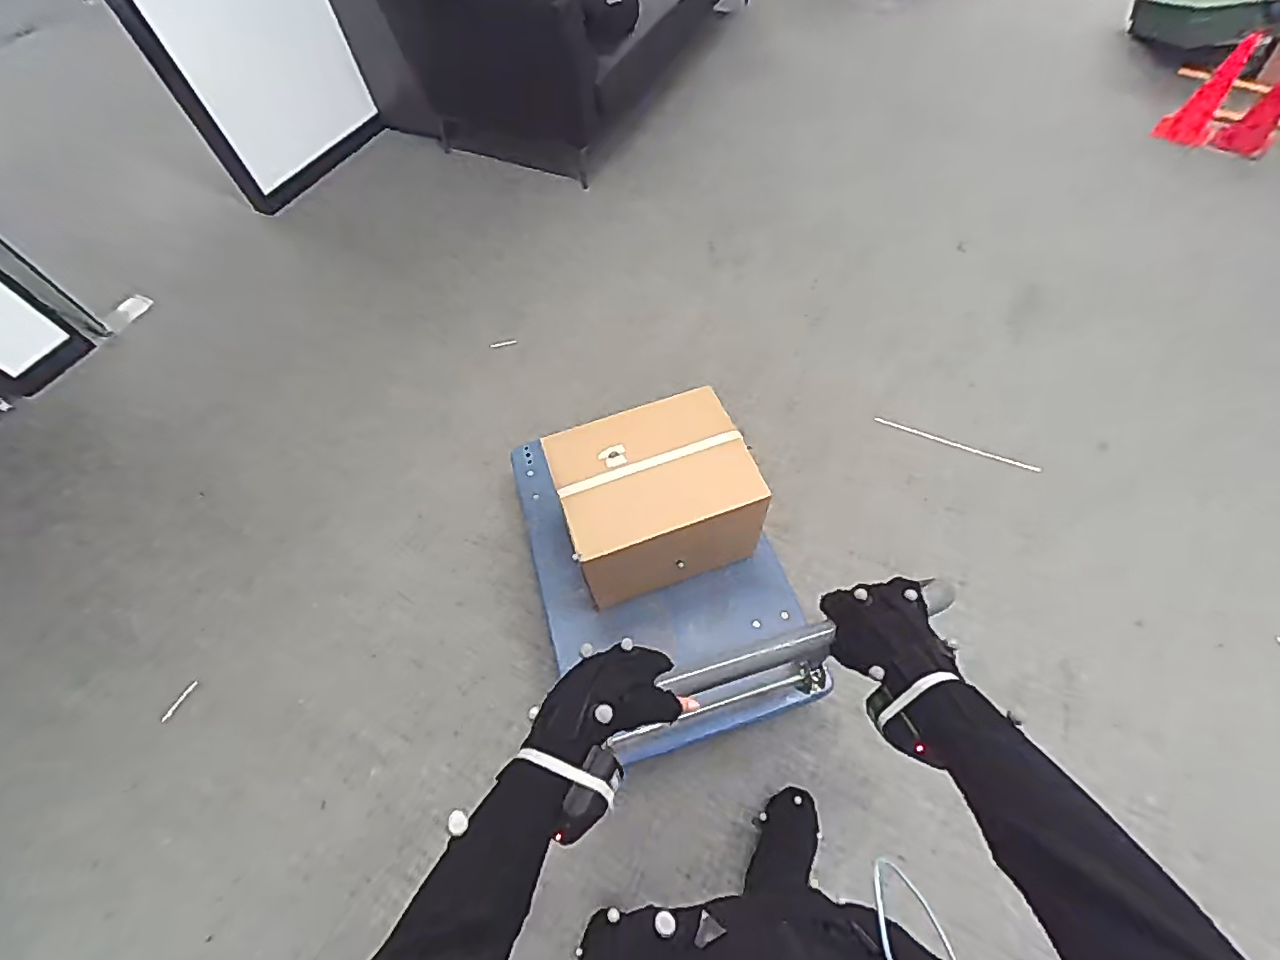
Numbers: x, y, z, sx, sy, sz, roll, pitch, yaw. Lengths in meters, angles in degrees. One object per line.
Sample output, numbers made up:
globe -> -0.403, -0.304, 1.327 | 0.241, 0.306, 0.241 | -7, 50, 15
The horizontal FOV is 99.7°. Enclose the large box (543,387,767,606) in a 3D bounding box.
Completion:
large box -> 0.033, 0.048, 1.269 | 0.408, 0.320, 0.320 | -20, 60, -7
